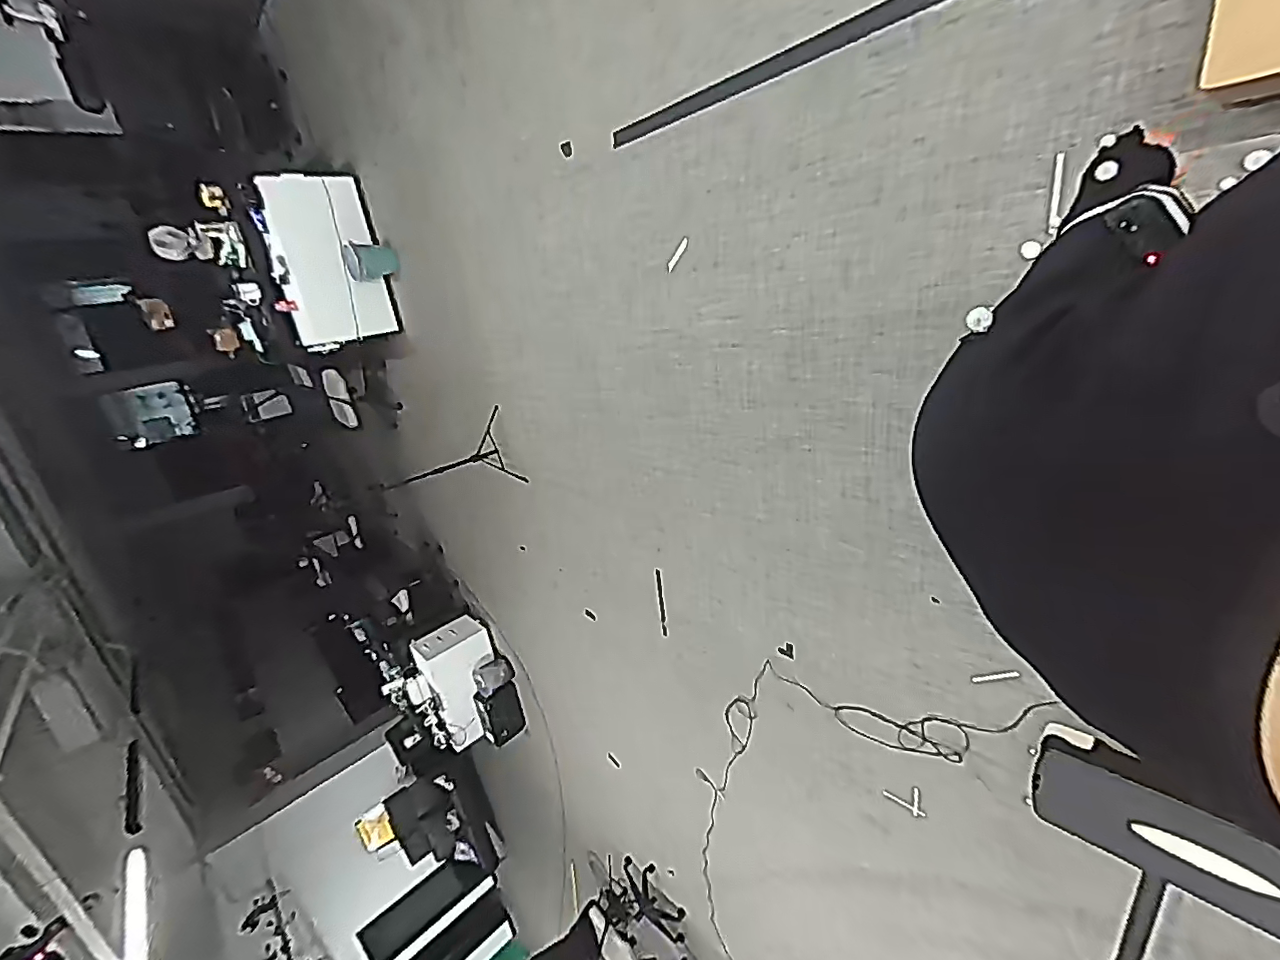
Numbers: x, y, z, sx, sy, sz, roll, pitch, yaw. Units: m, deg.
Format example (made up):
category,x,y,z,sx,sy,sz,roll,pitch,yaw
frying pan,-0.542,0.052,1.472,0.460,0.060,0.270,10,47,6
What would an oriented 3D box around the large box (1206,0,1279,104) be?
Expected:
category,x,y,z,sx,sy,sz,roll,pitch,yaw
large box,1.005,-0.708,0.653,0.408,0.320,0.320,14,121,45
